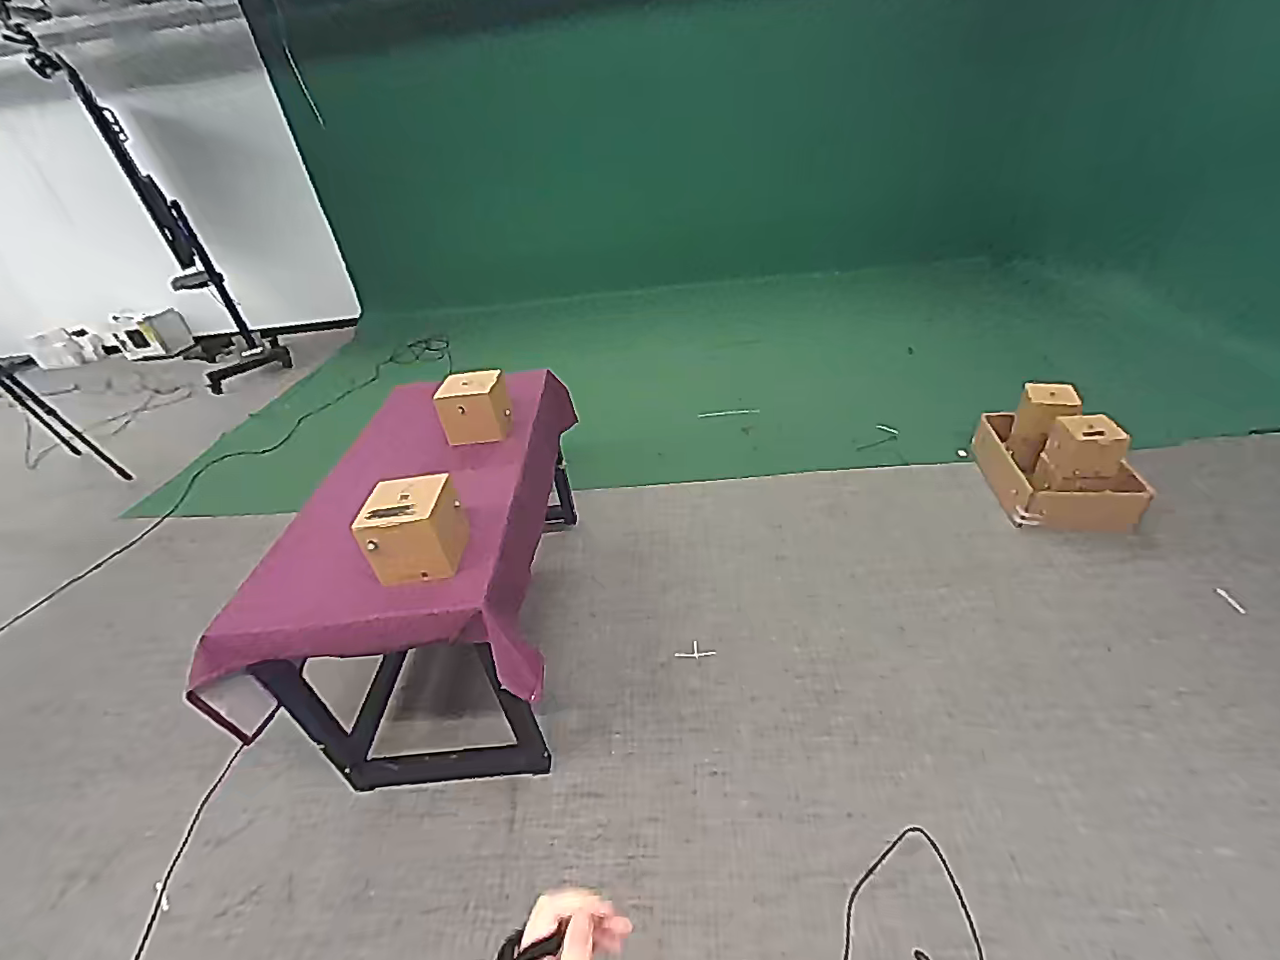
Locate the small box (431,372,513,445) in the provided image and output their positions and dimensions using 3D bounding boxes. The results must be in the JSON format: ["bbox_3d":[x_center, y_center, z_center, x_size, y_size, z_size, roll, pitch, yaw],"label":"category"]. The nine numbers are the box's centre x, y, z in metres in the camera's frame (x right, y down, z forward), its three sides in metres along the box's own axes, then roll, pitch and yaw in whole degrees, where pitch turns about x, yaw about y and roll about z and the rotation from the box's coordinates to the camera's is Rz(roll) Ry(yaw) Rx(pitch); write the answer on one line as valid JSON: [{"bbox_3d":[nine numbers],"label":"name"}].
[{"bbox_3d":[-0.518,-0.220,1.692,0.179,0.176,0.168,-5,36,5],"label":"small box"}]

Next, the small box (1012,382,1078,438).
[{"bbox_3d":[1.679,-0.290,2.251,0.168,0.176,0.179,6,40,20],"label":"small box"}]

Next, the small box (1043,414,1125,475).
[{"bbox_3d":[1.659,-0.131,2.031,0.168,0.176,0.179,-1,34,12],"label":"small box"}]
